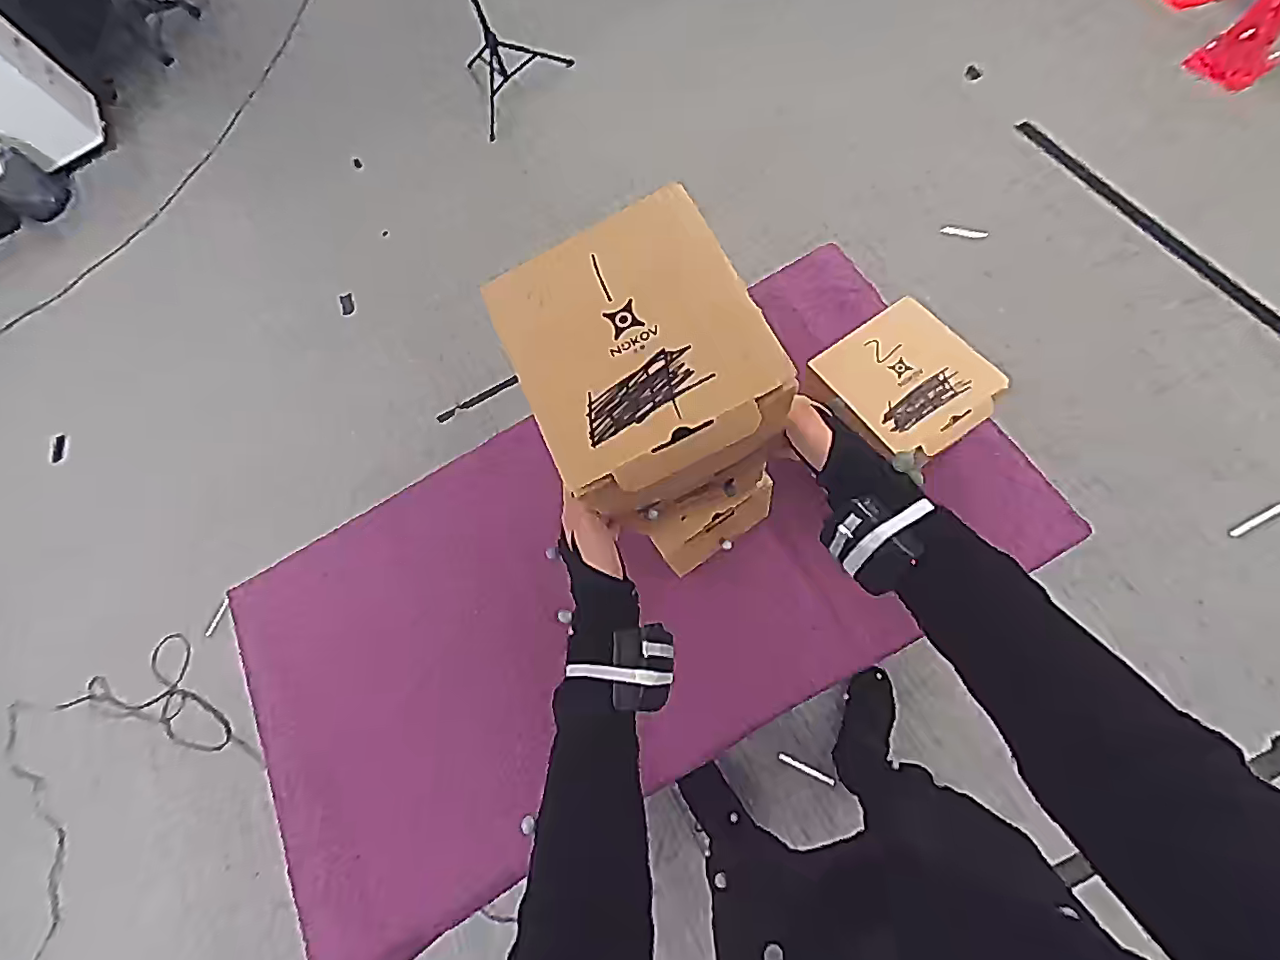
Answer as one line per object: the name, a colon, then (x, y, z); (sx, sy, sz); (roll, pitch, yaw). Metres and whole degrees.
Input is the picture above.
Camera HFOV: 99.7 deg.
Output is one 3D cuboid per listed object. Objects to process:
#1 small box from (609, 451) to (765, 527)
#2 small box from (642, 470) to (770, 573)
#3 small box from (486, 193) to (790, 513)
small box: (0.030, -0.055, 0.613); (0.168, 0.176, 0.179); (-25, 75, 4)
small box: (0.065, 0.012, 0.773); (0.168, 0.176, 0.179); (-35, 69, -1)
small box: (0.007, -0.083, 0.452); (0.168, 0.176, 0.179); (-27, 74, 4)
